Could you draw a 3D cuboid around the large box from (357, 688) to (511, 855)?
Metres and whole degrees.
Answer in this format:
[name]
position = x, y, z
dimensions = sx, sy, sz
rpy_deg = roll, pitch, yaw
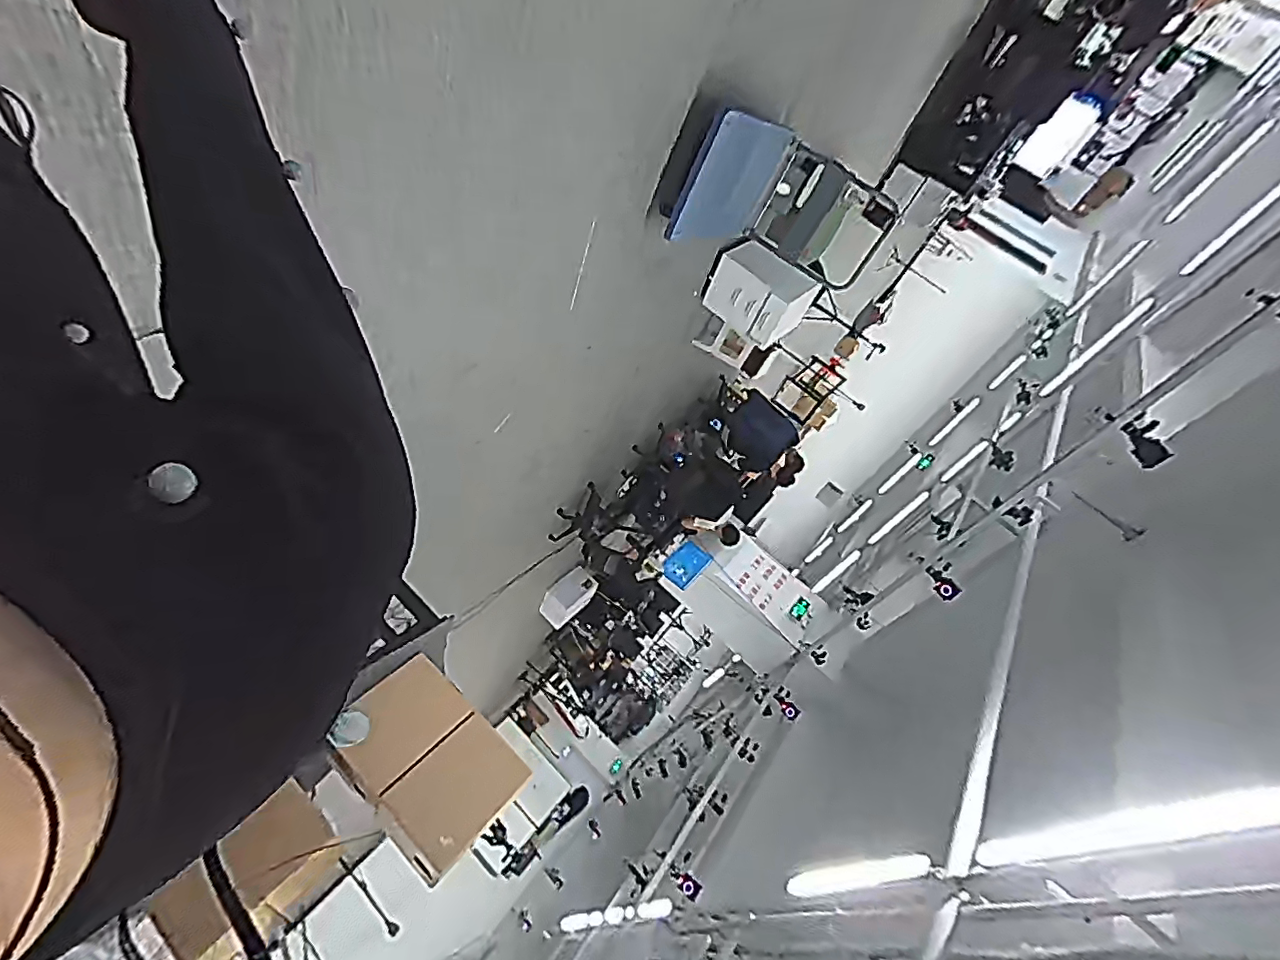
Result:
[large box]
position = -0.742, 1.037, 1.950
dimensions = 0.408, 0.320, 0.320
rpy_deg = -35, 163, -44
